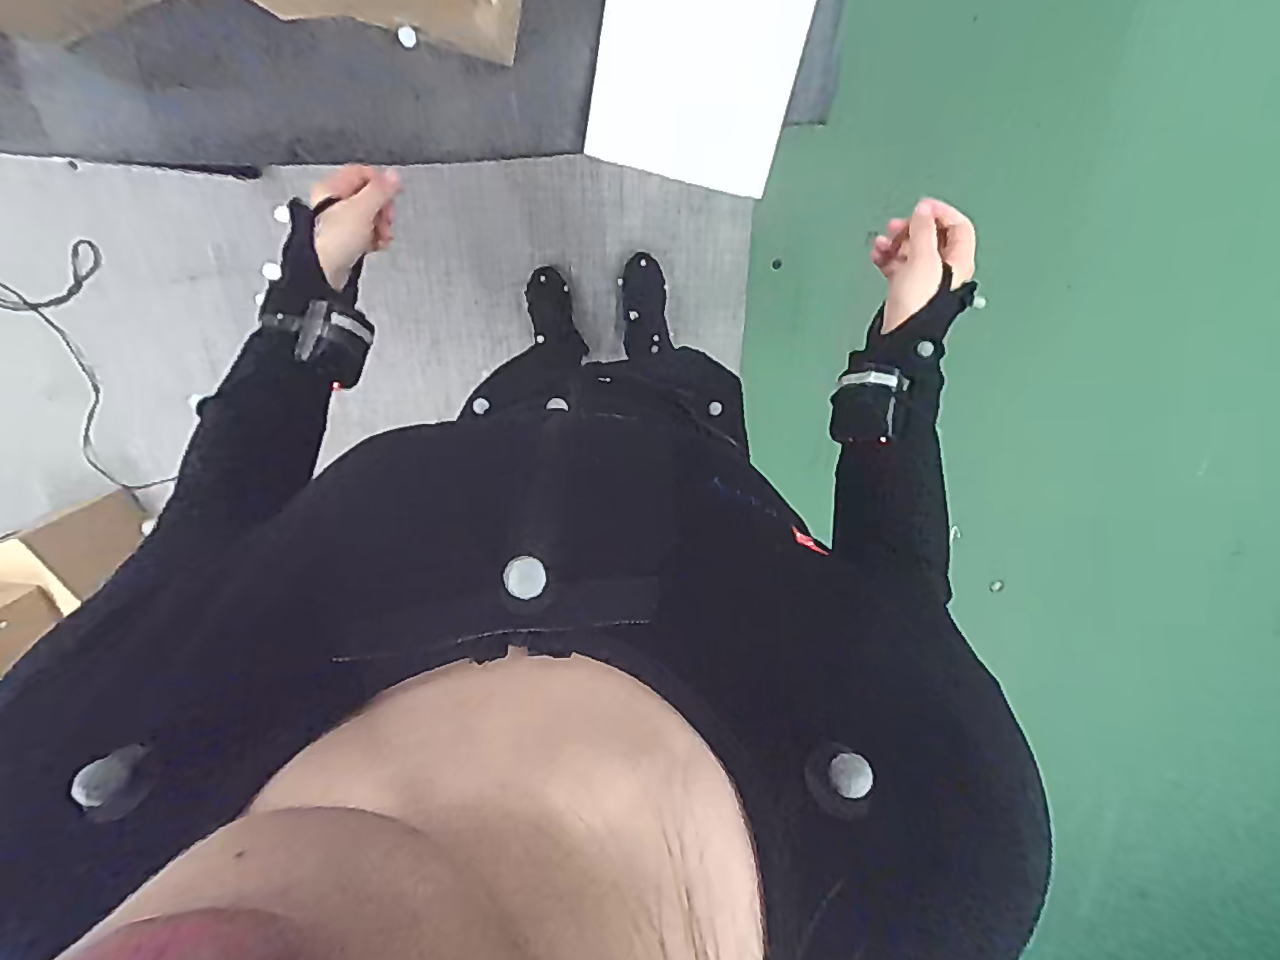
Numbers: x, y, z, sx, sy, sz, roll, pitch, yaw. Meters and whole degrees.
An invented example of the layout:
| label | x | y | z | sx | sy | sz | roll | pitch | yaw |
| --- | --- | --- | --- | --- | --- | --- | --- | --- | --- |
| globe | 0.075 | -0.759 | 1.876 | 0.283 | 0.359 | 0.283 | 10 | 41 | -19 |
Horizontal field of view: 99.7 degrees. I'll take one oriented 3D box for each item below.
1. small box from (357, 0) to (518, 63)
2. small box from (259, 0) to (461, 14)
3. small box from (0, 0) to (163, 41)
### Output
| label | x | y | z | sx | sy | sz | roll | pitch | yaw |
| --- | --- | --- | --- | --- | --- | --- | --- | --- | --- |
| small box | -0.197 | -0.495 | 0.452 | 0.168 | 0.176 | 0.179 | 15 | 115 | -3 |
| small box | -0.204 | -0.405 | 0.314 | 0.179 | 0.176 | 0.168 | 0 | 114 | 4 |
| small box | -0.568 | -0.522 | 0.464 | 0.179 | 0.176 | 0.168 | -14 | 113 | 9 |
